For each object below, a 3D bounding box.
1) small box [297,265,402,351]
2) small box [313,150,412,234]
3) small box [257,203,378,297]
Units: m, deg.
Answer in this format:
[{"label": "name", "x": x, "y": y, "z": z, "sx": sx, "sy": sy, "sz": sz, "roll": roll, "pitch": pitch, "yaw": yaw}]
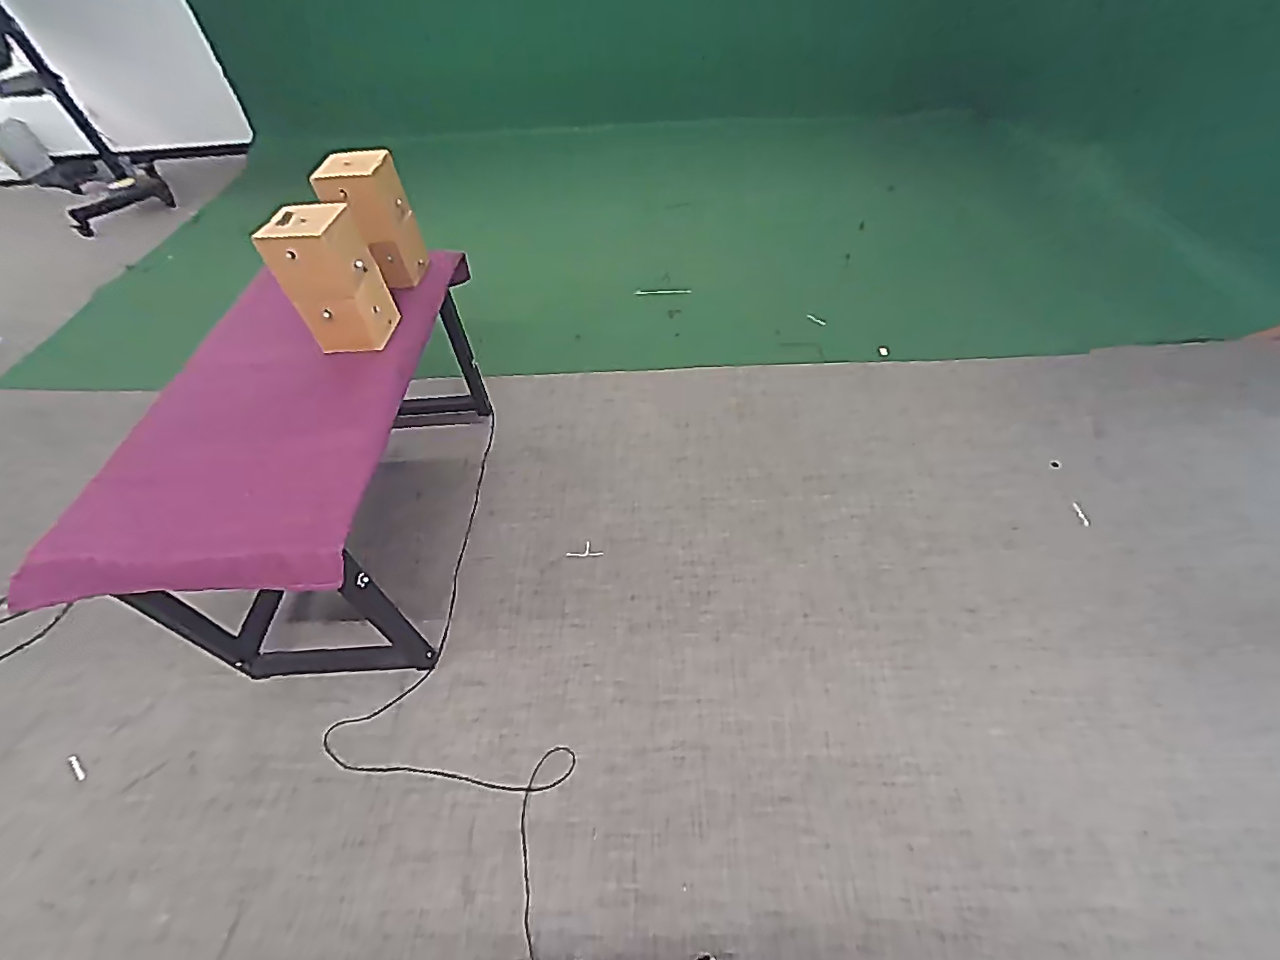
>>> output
[{"label": "small box", "x": -0.795, "y": -0.477, "z": 1.503, "sx": 0.179, "sy": 0.176, "sz": 0.168, "roll": -1, "pitch": 51, "yaw": 5}, {"label": "small box", "x": -0.800, "y": -0.835, "z": 1.580, "sx": 0.179, "sy": 0.176, "sz": 0.168, "roll": -1, "pitch": 52, "yaw": 3}, {"label": "small box", "x": -0.810, "y": -0.581, "z": 1.377, "sx": 0.179, "sy": 0.176, "sz": 0.168, "roll": 0, "pitch": 51, "yaw": 5}]
